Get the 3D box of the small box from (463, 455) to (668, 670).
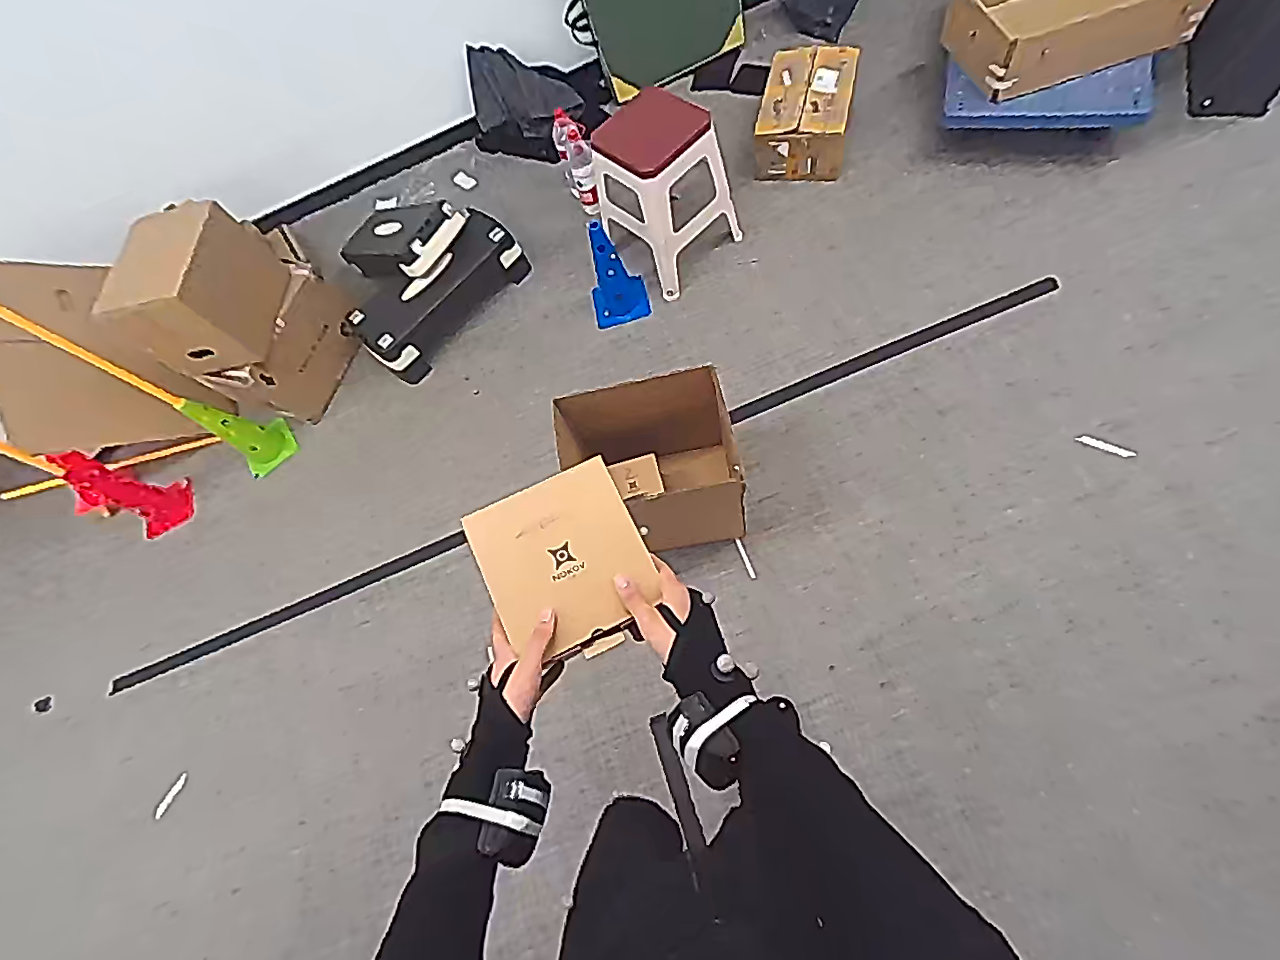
[{"bbox_3d":[-0.079,0.101,0.634,0.168,0.176,0.179,-24,75,-8],"label":"small box"}]
